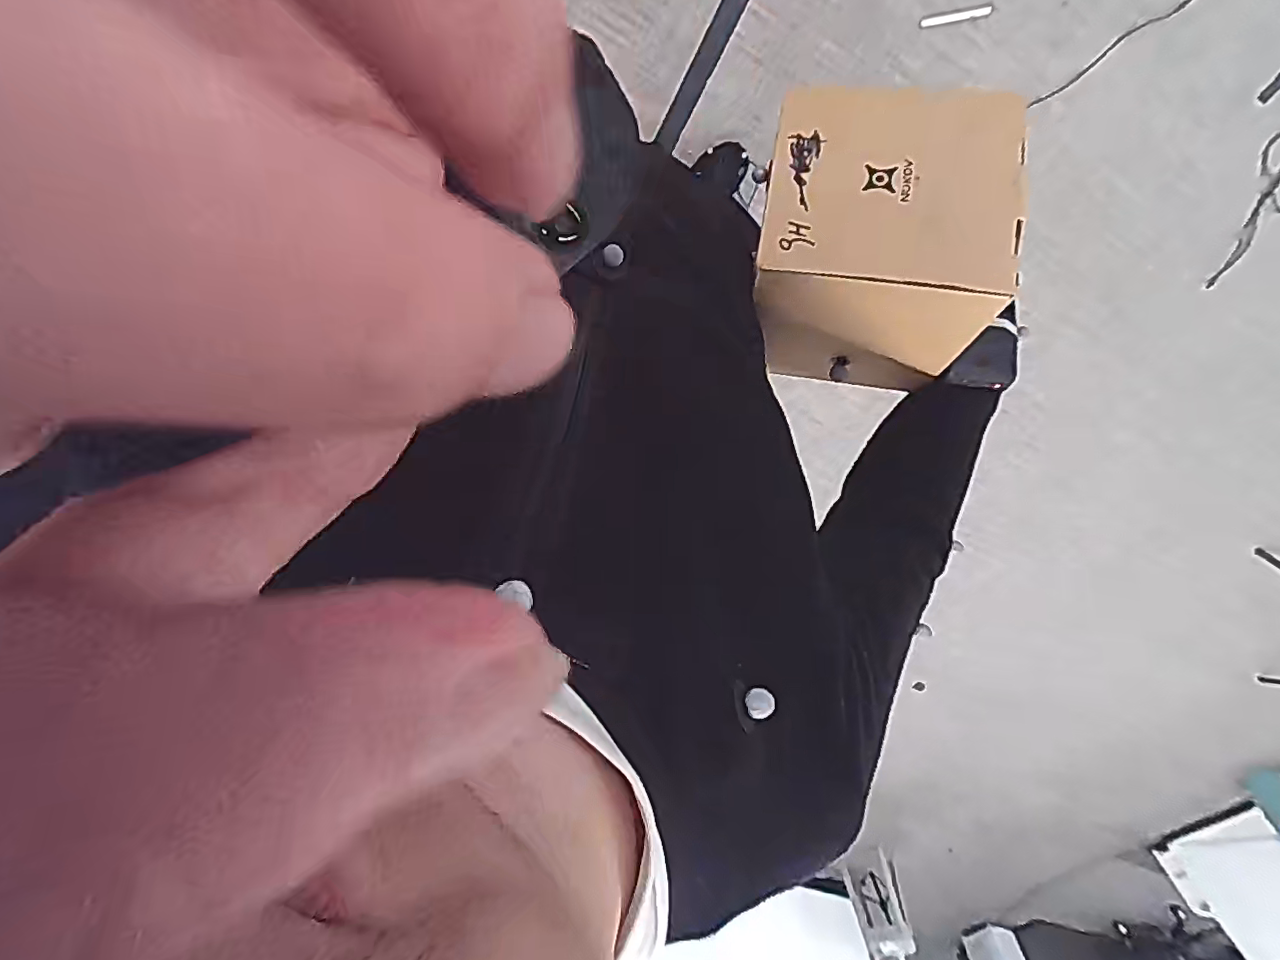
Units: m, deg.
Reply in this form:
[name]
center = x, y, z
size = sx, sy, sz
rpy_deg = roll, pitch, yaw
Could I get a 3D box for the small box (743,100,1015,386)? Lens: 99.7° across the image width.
[small box]
center = 0.198, -0.198, 0.490
size = 0.179, 0.168, 0.176
rpy_deg = 9, 167, 8
